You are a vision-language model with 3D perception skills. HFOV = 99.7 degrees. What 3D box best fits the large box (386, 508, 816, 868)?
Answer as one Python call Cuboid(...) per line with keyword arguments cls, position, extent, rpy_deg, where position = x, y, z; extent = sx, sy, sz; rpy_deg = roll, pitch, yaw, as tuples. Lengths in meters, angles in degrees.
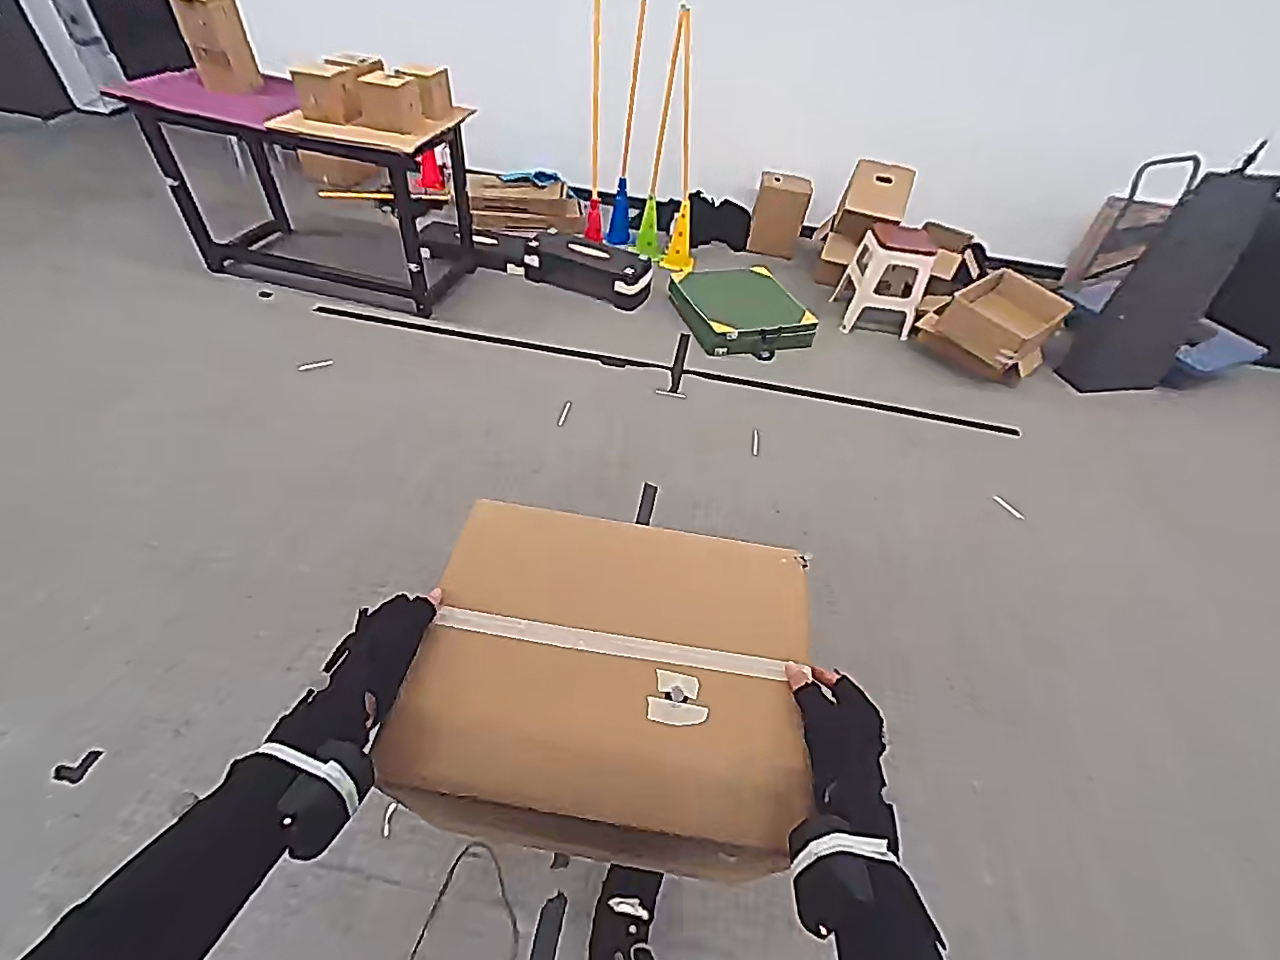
Cuboid(cls="large box", position=(-0.034, 0.272, 0.695), extent=(0.408, 0.320, 0.320), rpy_deg=(9, 50, 1))
